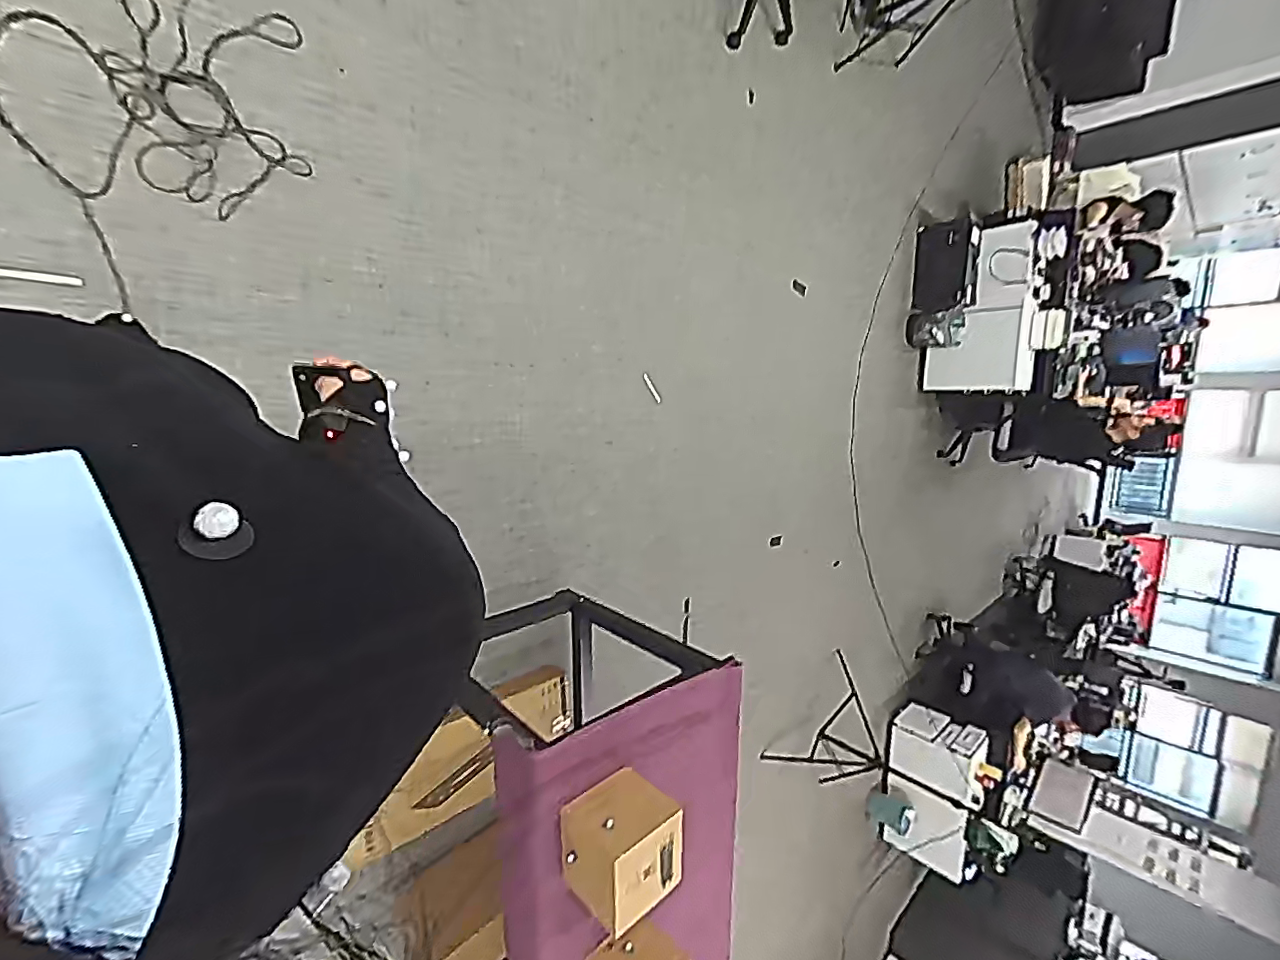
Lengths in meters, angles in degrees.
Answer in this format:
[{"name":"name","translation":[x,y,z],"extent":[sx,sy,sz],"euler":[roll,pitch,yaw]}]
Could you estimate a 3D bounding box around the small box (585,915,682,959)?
[{"name":"small box","translation":[-0.011,1.104,1.159],"extent":[0.168,0.176,0.179],"euler":[-11,104,-45]}]
